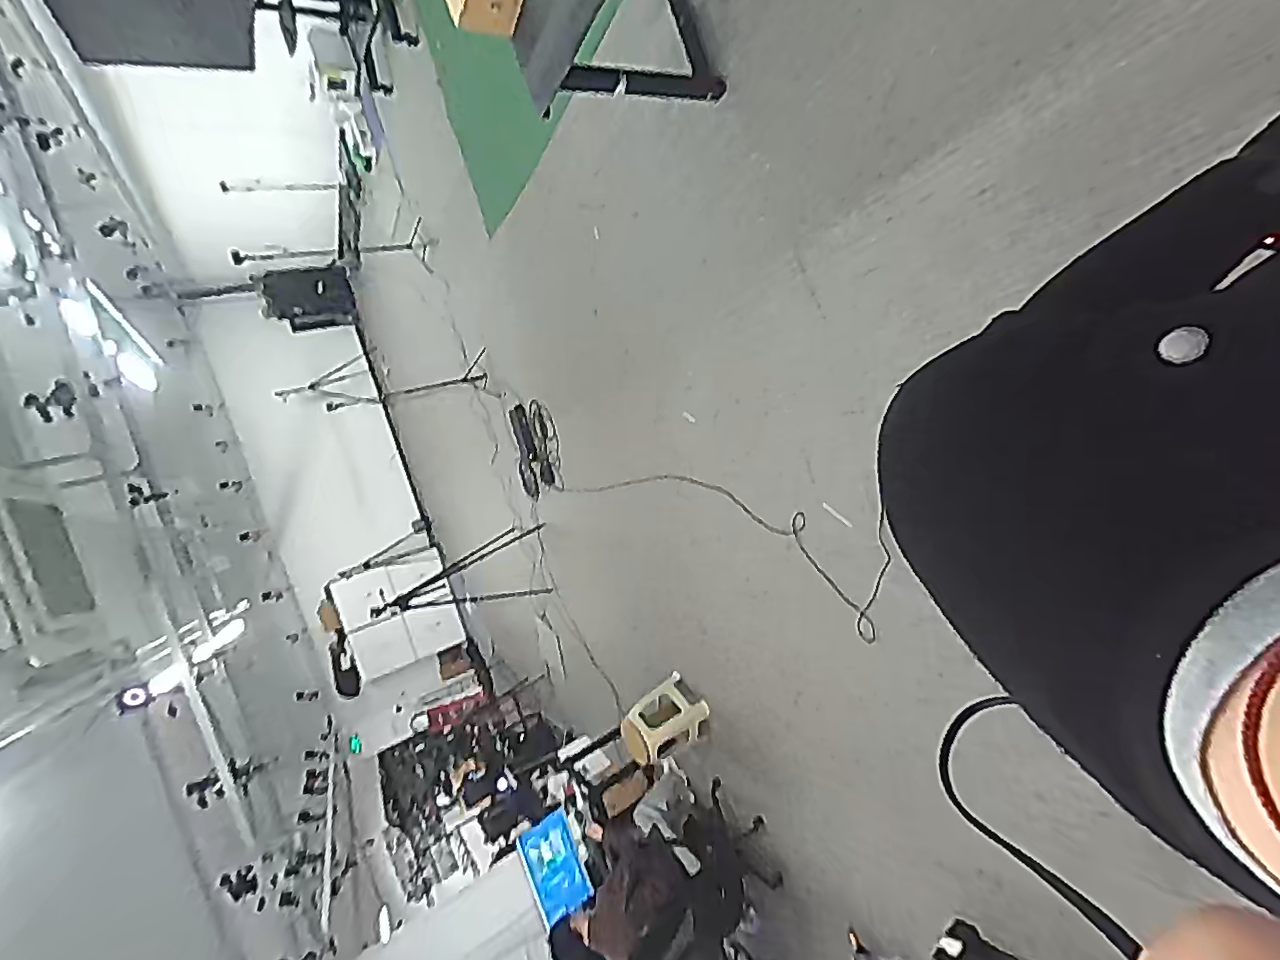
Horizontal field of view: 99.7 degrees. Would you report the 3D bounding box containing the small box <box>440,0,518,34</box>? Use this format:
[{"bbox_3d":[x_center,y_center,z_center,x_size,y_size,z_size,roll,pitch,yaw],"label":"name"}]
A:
[{"bbox_3d":[-0.442,-1.356,1.465,0.168,0.176,0.179,-21,90,59],"label":"small box"}]
